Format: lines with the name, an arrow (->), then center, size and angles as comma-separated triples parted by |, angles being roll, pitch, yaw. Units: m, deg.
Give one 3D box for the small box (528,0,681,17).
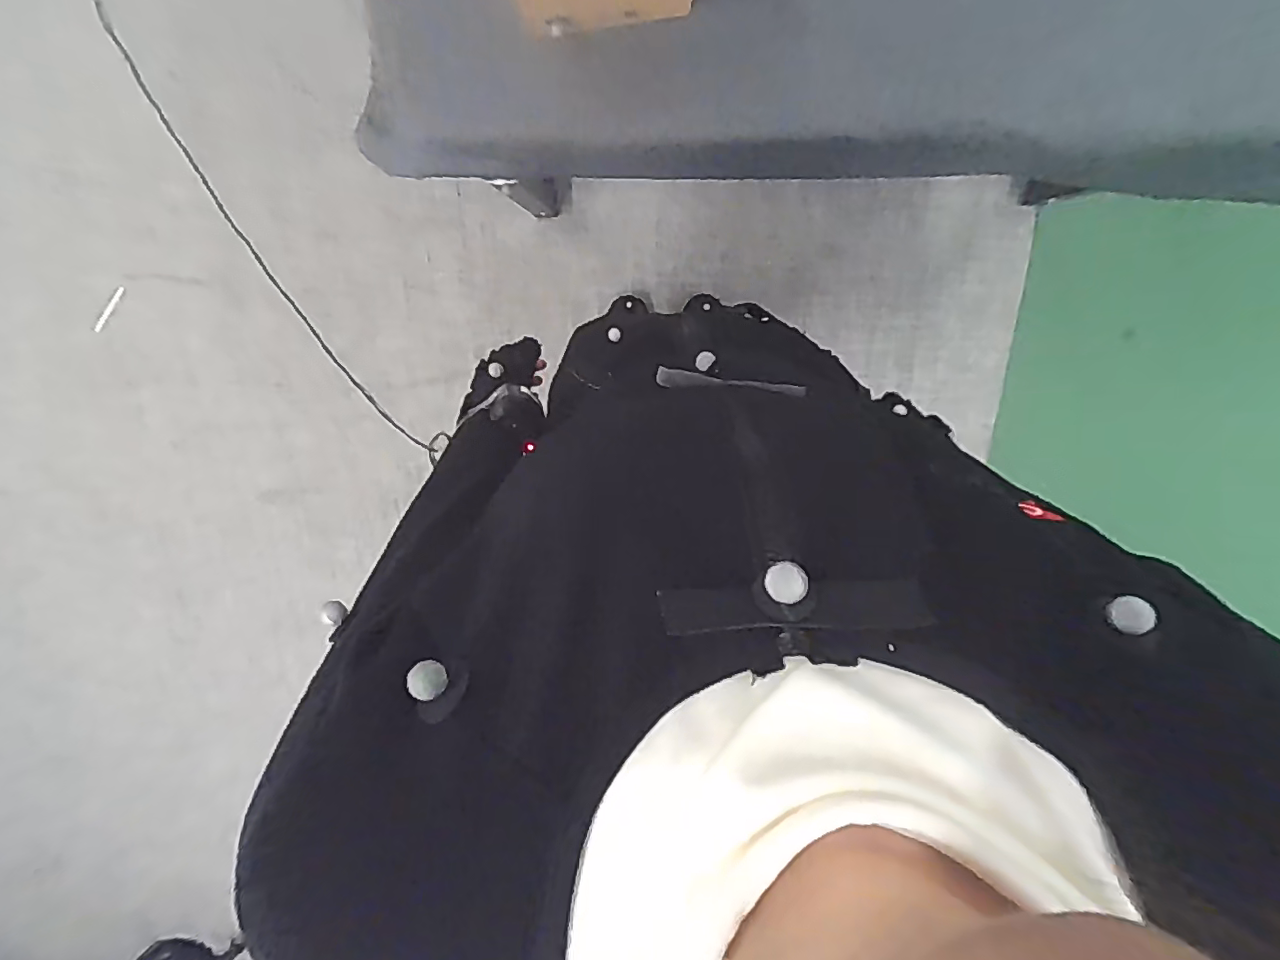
small box -> -0.038, -0.517, 0.435 | 0.168, 0.176, 0.179 | -7, 107, 2
